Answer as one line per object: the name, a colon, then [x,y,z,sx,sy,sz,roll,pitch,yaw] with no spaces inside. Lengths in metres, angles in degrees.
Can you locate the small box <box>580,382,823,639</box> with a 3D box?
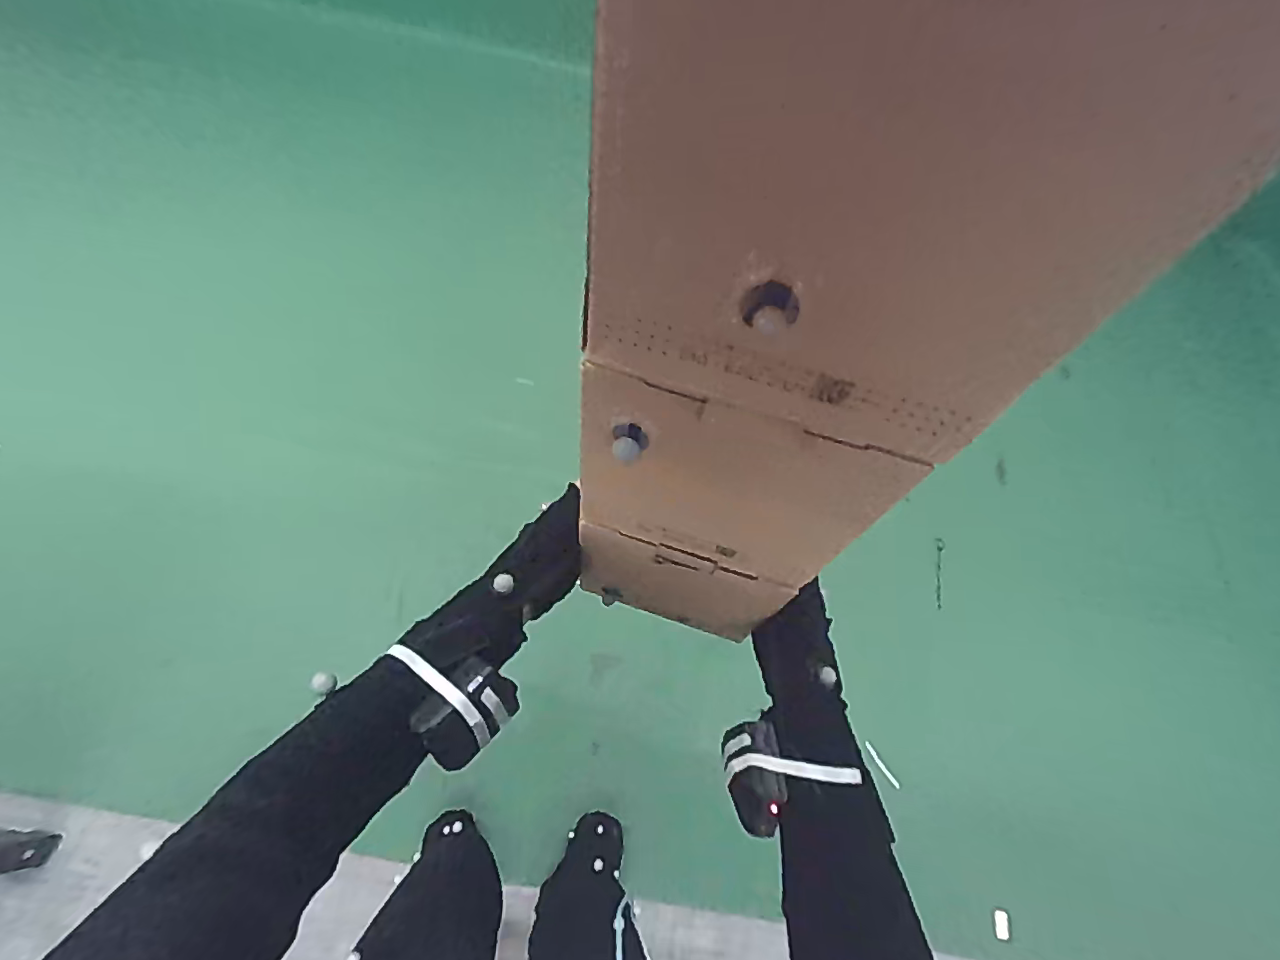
small box: [0.052,0.028,0.505,0.168,0.176,0.179,18,60,4]

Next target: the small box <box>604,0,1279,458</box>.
small box: [0.086,-0.140,0.225,0.168,0.176,0.179,16,60,2]
